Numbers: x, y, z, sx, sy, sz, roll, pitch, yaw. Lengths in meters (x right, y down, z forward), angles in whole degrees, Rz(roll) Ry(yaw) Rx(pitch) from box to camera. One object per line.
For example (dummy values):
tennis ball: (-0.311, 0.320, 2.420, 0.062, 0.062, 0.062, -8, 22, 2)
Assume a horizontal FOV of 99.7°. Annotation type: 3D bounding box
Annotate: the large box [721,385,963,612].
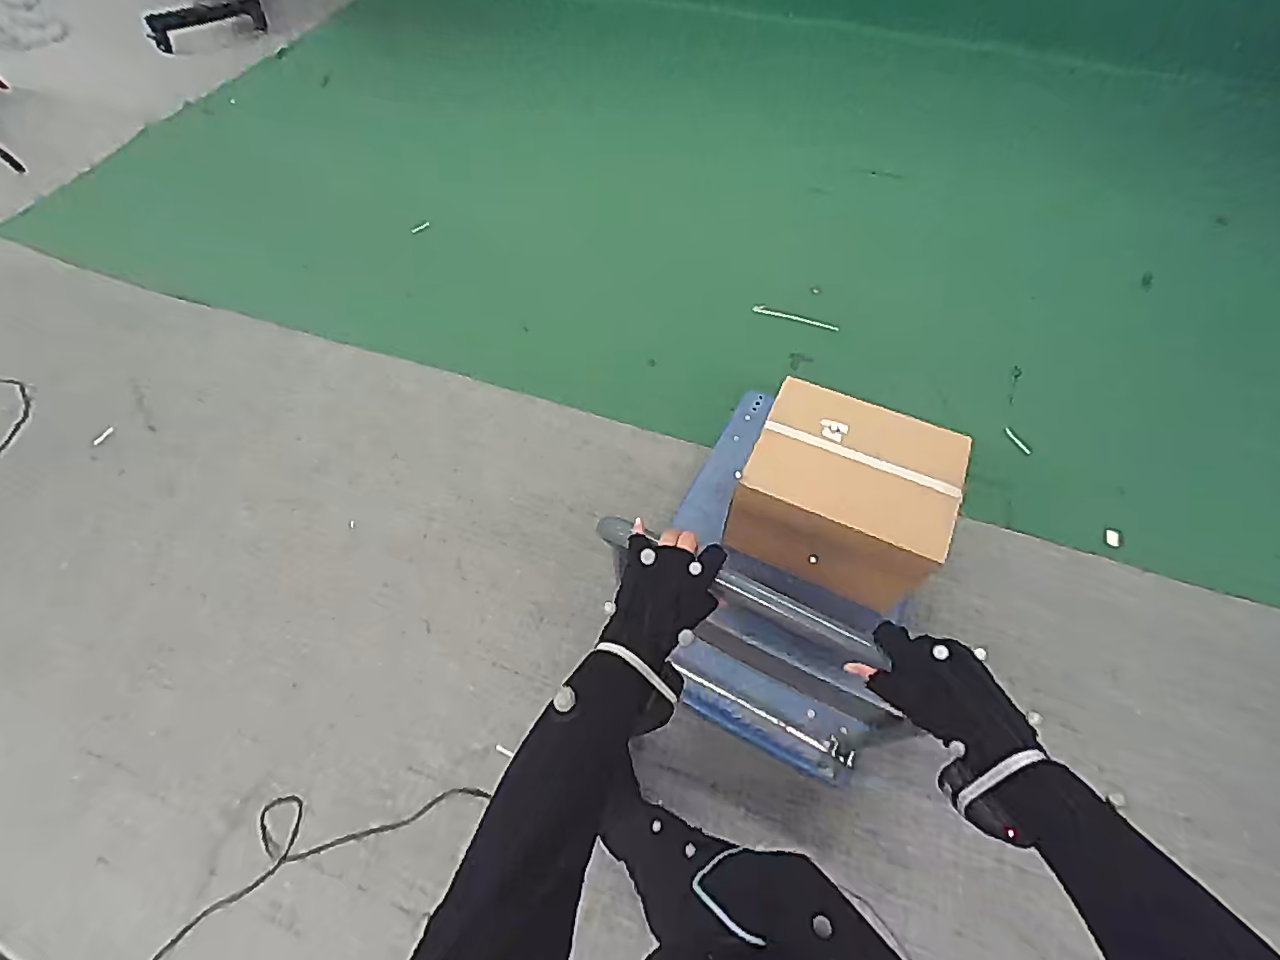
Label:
large box: (0.437, 0.048, 1.230, 0.408, 0.320, 0.320, 22, 62, 16)
